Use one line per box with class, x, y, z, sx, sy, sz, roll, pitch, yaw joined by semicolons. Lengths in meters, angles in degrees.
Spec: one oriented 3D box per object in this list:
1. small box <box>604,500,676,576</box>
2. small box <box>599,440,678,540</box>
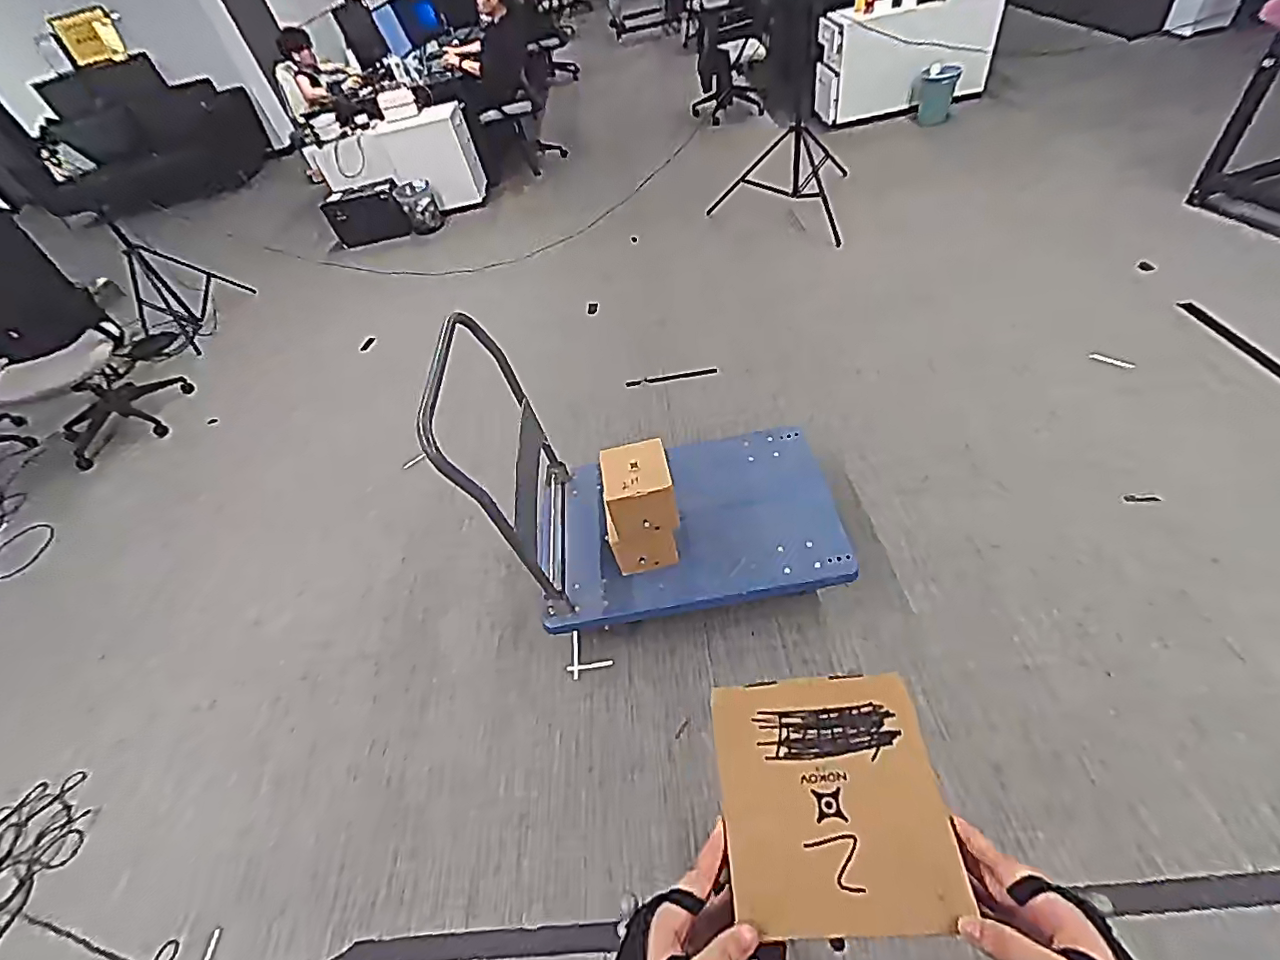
small box;0.000;0.141;1.517;0.168;0.176;0.179;-13;48;2
small box;-0.003;0.028;1.394;0.168;0.176;0.179;-13;48;2
